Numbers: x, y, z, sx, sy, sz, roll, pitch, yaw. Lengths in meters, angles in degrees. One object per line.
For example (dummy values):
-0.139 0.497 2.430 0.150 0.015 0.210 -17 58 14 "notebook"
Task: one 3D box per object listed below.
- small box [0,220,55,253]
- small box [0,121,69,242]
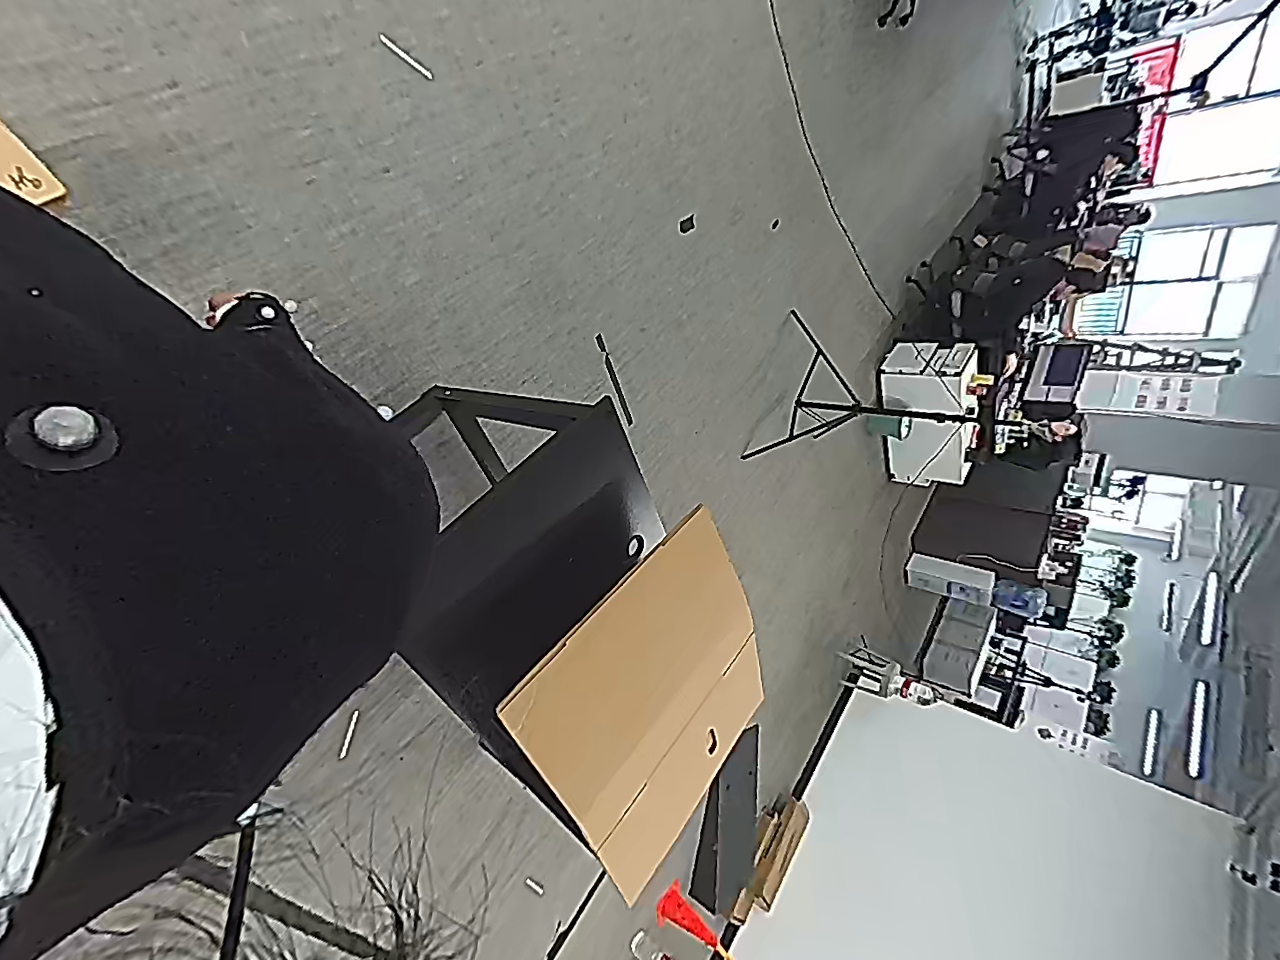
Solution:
-0.982 -0.410 0.760 0.179 0.176 0.168 -54 135 -27 "small box"
-0.862 -0.384 0.651 0.168 0.176 0.179 -50 133 -28 "small box"
